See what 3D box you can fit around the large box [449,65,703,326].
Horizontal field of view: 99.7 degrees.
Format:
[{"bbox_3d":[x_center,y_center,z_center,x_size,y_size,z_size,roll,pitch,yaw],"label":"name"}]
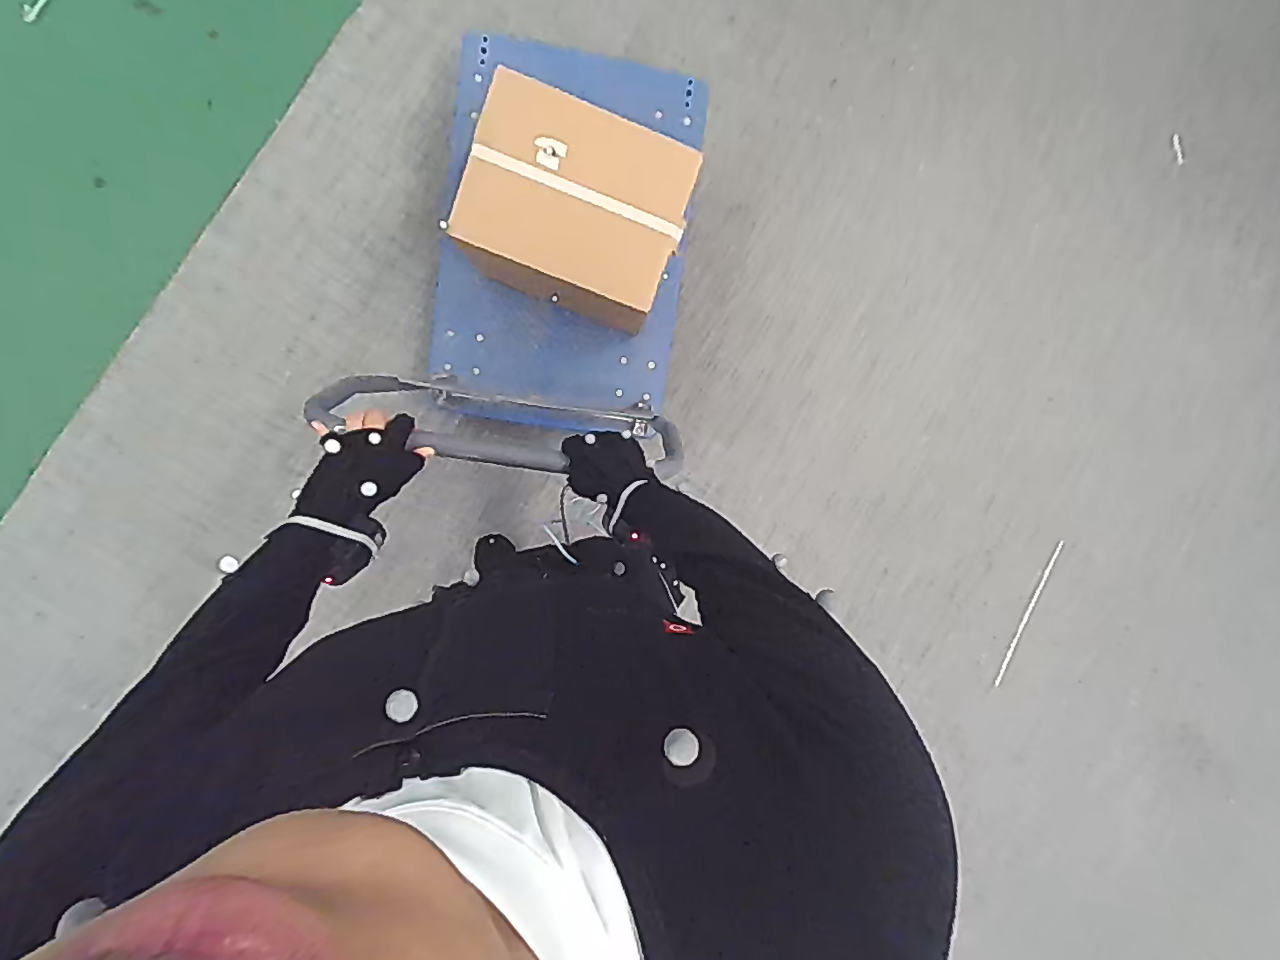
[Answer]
[{"bbox_3d":[-0.124,-0.559,1.148,0.408,0.320,0.320,21,96,-6],"label":"large box"}]
